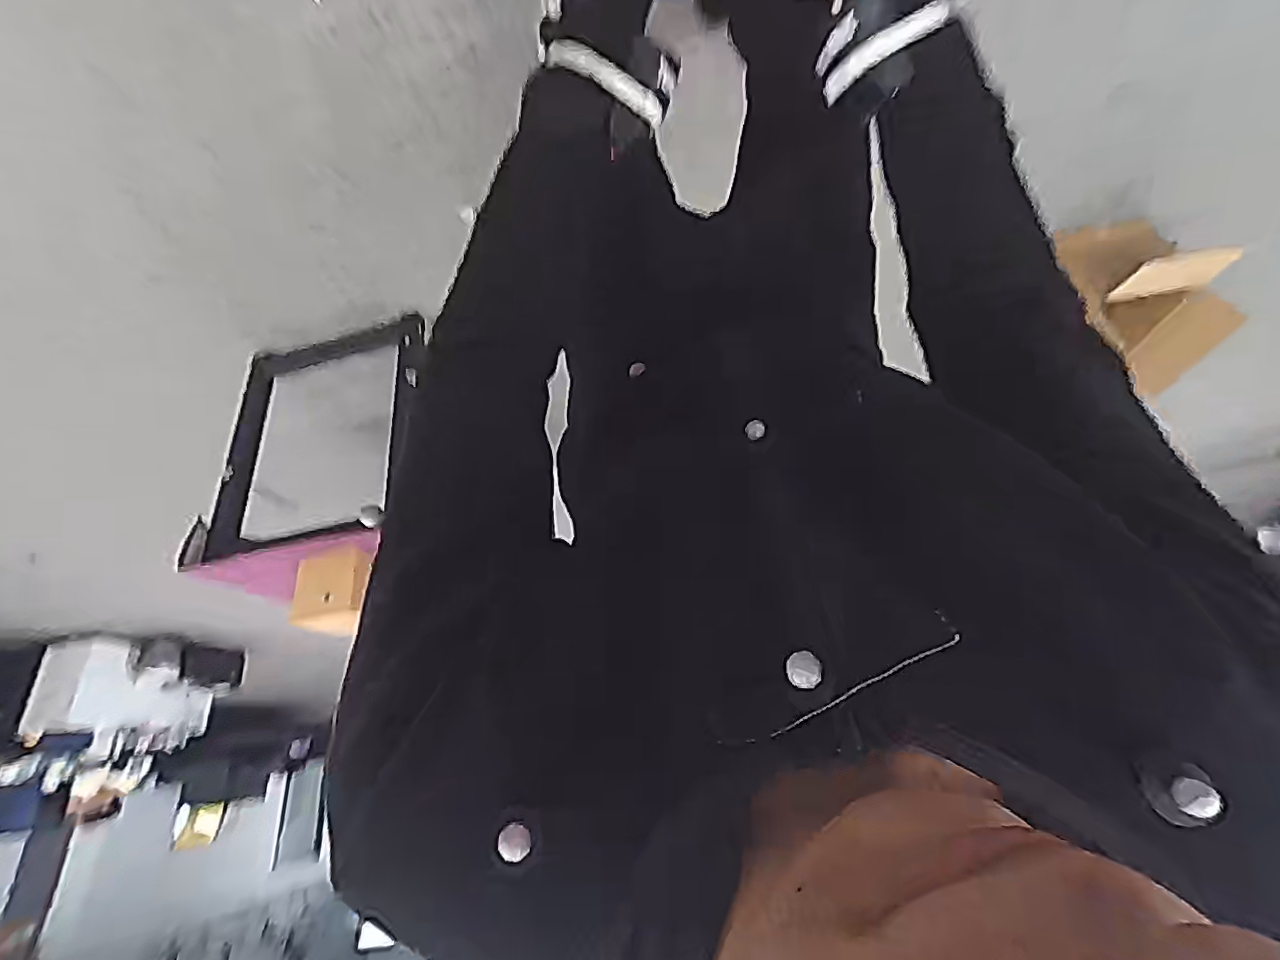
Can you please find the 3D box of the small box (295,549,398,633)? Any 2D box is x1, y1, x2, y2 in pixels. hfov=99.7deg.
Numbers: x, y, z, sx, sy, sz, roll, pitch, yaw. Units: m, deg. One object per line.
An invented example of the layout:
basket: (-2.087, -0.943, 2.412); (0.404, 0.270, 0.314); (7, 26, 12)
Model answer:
small box: (-0.752, 0.288, 1.402); (0.179, 0.176, 0.168); (-14, 153, 12)
